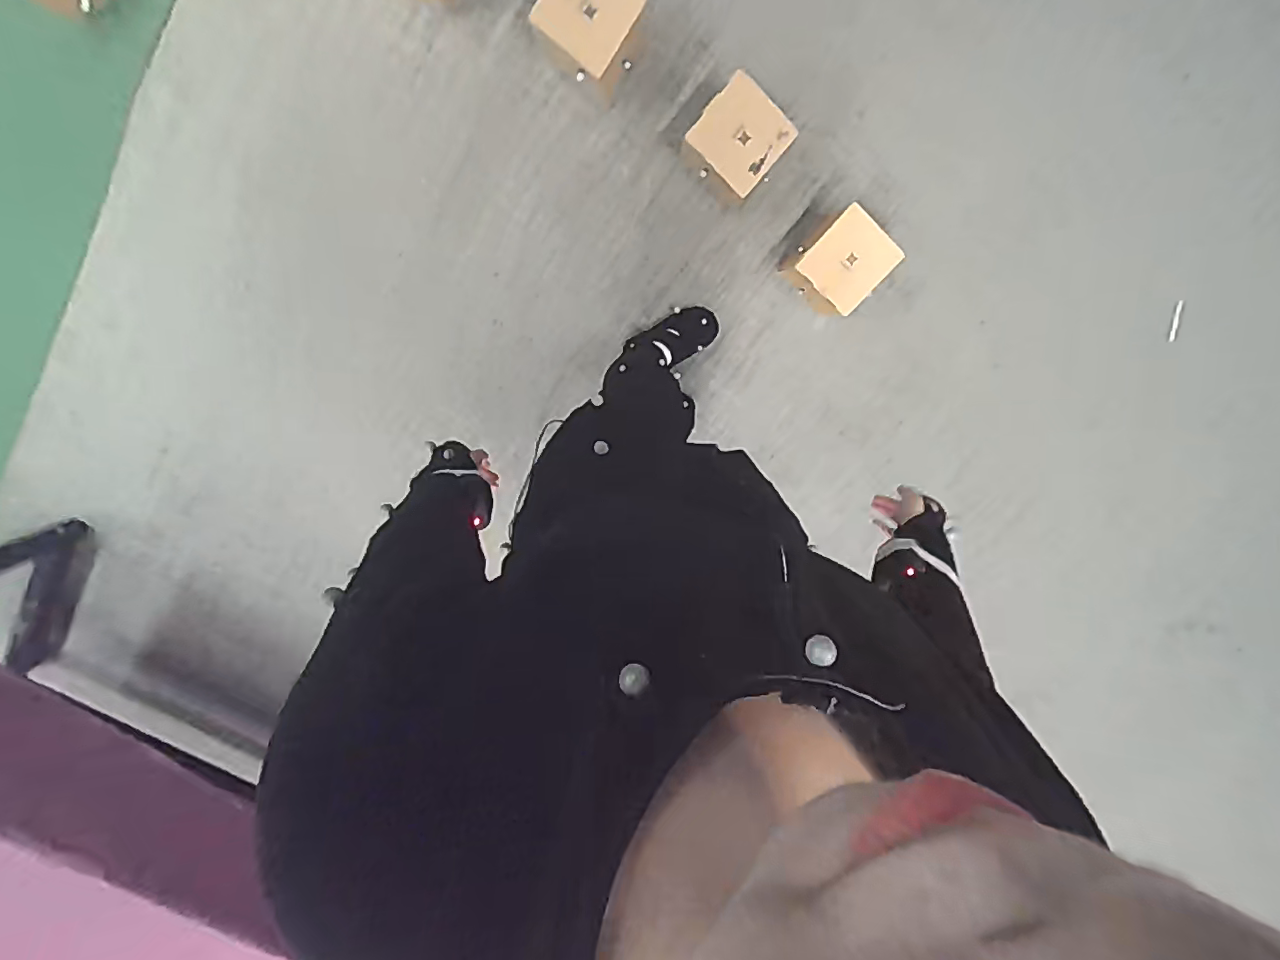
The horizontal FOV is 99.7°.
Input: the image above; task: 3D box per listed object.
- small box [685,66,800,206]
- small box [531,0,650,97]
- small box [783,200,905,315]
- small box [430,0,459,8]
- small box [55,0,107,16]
[{"bbox_3d":[0.212,-0.733,1.178,0.179,0.176,0.168,42,104,-10],"label":"small box"},{"bbox_3d":[-0.094,-0.941,1.122,0.179,0.176,0.168,36,104,-9],"label":"small box"},{"bbox_3d":[0.457,-0.504,1.245,0.168,0.176,0.179,41,104,-11],"label":"small box"},{"bbox_3d":[-0.454,-1.107,1.081,0.179,0.176,0.168,24,106,-6],"label":"small box"},{"bbox_3d":[-1.220,-1.118,1.101,0.168,0.176,0.179,-28,104,10],"label":"small box"}]
